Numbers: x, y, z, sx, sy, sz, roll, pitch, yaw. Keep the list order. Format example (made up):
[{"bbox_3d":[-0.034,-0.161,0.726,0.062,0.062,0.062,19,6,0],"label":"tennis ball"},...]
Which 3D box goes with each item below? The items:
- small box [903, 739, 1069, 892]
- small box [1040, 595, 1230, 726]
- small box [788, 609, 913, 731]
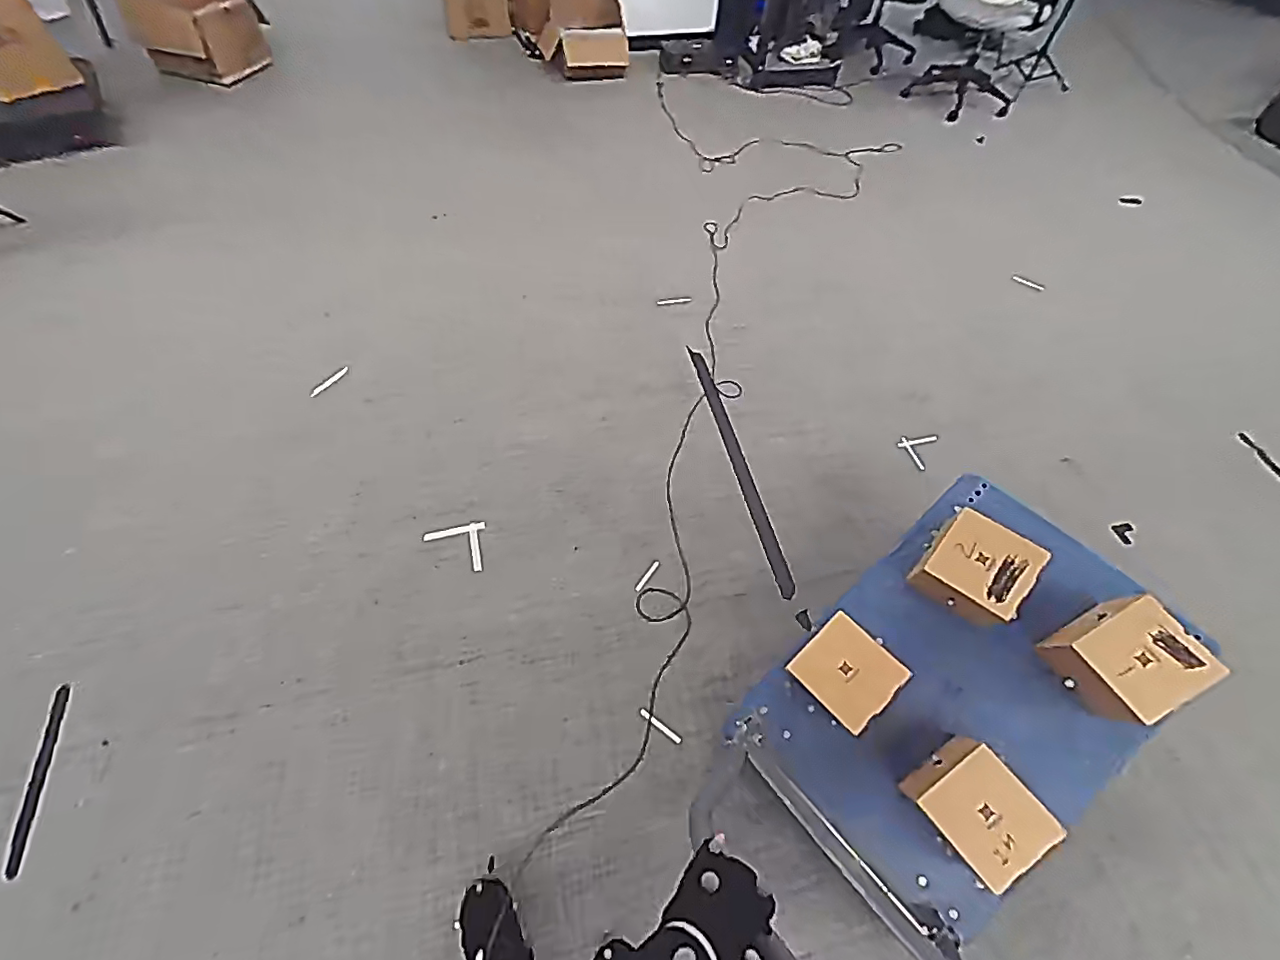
[{"bbox_3d":[0.631,0.613,1.017,0.168,0.176,0.179,-39,66,-2],"label":"small box"},{"bbox_3d":[0.932,0.344,1.041,0.179,0.176,0.168,-34,66,1],"label":"small box"},{"bbox_3d":[0.431,0.400,1.145,0.168,0.176,0.179,-45,68,-5],"label":"small box"}]
